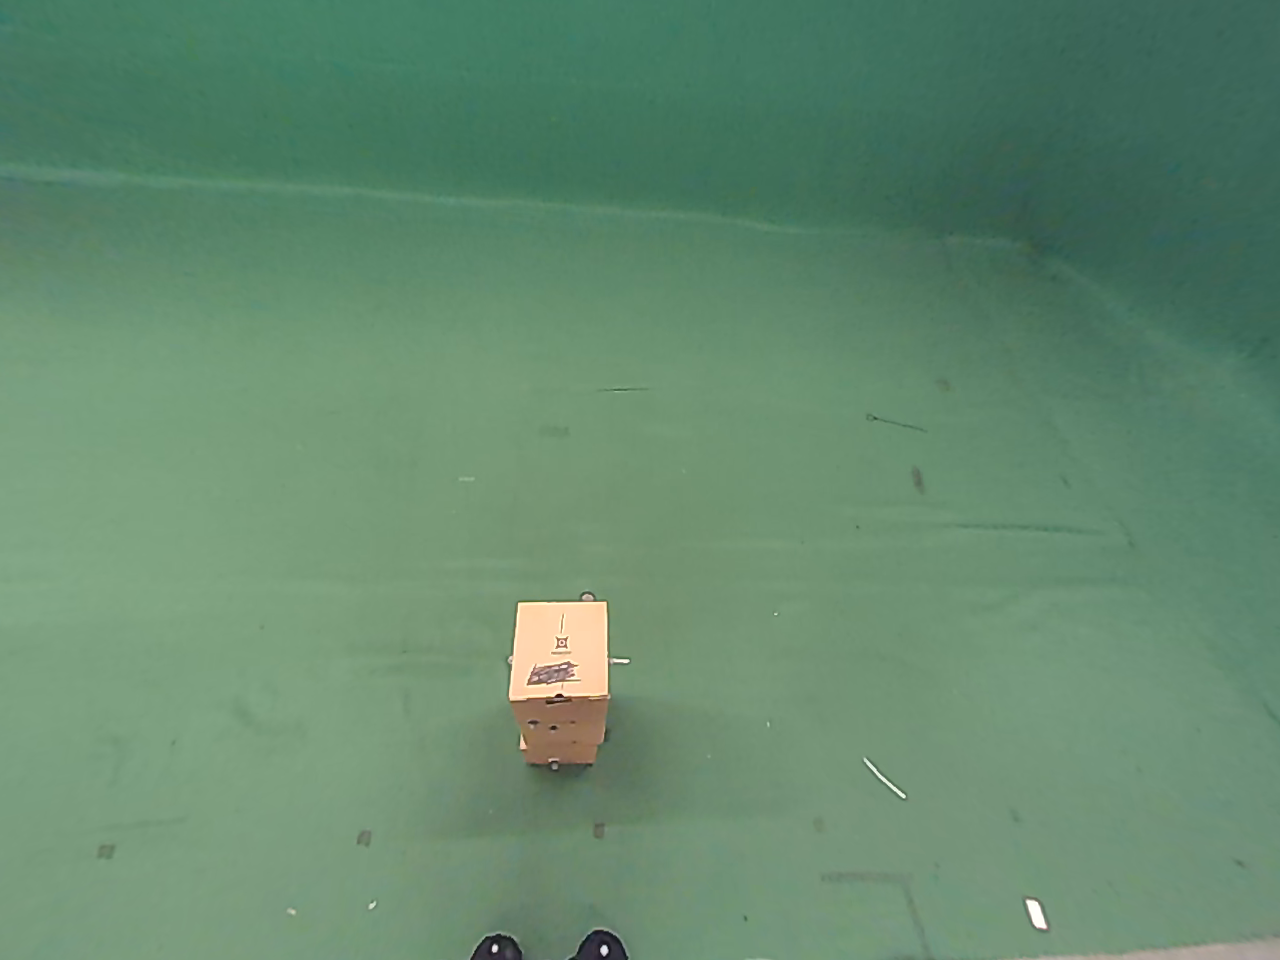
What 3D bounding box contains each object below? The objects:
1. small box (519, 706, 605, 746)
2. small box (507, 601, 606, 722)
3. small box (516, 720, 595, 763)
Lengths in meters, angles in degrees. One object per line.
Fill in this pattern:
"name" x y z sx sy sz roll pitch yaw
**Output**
"small box" -0.160 0.444 1.138 0.168 0.176 0.179 1 51 -6
"small box" -0.147 0.342 1.009 0.168 0.176 0.179 1 51 -6
"small box" -0.184 0.537 1.247 0.168 0.176 0.179 2 52 -3
